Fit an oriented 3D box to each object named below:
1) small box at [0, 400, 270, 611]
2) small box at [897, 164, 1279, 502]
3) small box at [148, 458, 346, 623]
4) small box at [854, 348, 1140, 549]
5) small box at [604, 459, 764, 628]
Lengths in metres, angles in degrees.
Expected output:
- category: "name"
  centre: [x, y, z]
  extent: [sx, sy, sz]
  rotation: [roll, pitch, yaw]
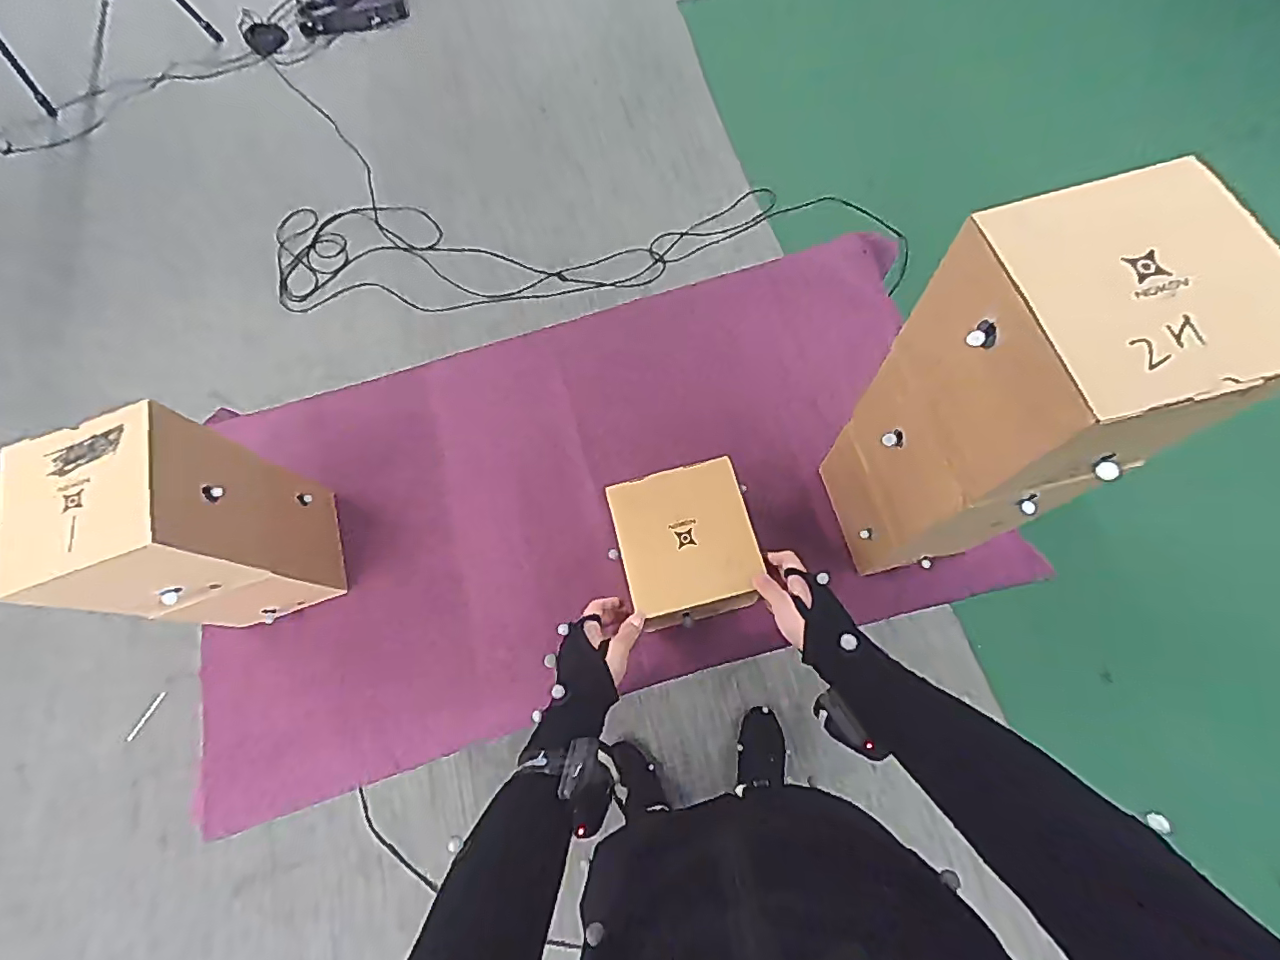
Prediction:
- category: "small box"
  centre: [-0.575, 0.040, 0.635]
  extent: [0.168, 0.176, 0.179]
  rotation: [-19, 71, -2]
- category: "small box"
  centre: [0.337, -0.102, 0.431]
  extent: [0.168, 0.176, 0.179]
  rotation: [-14, 70, 1]
- category: "small box"
  centre: [-0.562, 0.096, 0.789]
  extent: [0.168, 0.176, 0.179]
  rotation: [-19, 71, -2]
- category: "small box"
  centre: [0.354, -0.042, 0.583]
  extent: [0.168, 0.176, 0.179]
  rotation: [-14, 68, 1]
- category: "small box"
  centre: [0.059, 0.097, 0.738]
  extent: [0.168, 0.176, 0.179]
  rotation: [-15, 69, 0]
